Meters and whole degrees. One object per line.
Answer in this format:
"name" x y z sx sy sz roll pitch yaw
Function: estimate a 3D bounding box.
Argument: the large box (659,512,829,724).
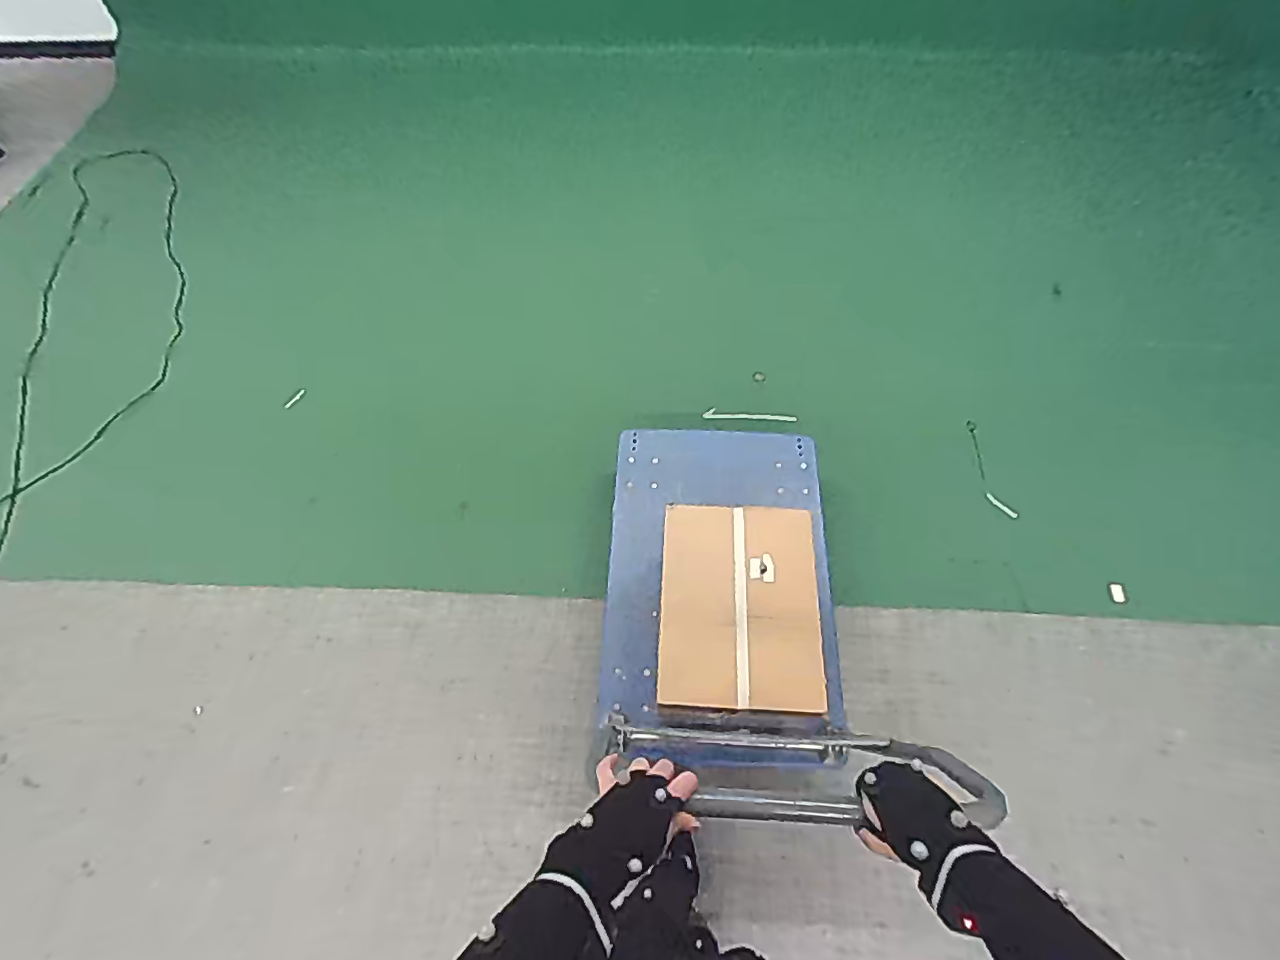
"large box" 0.205 0.316 1.203 0.320 0.320 0.408 2 63 3
